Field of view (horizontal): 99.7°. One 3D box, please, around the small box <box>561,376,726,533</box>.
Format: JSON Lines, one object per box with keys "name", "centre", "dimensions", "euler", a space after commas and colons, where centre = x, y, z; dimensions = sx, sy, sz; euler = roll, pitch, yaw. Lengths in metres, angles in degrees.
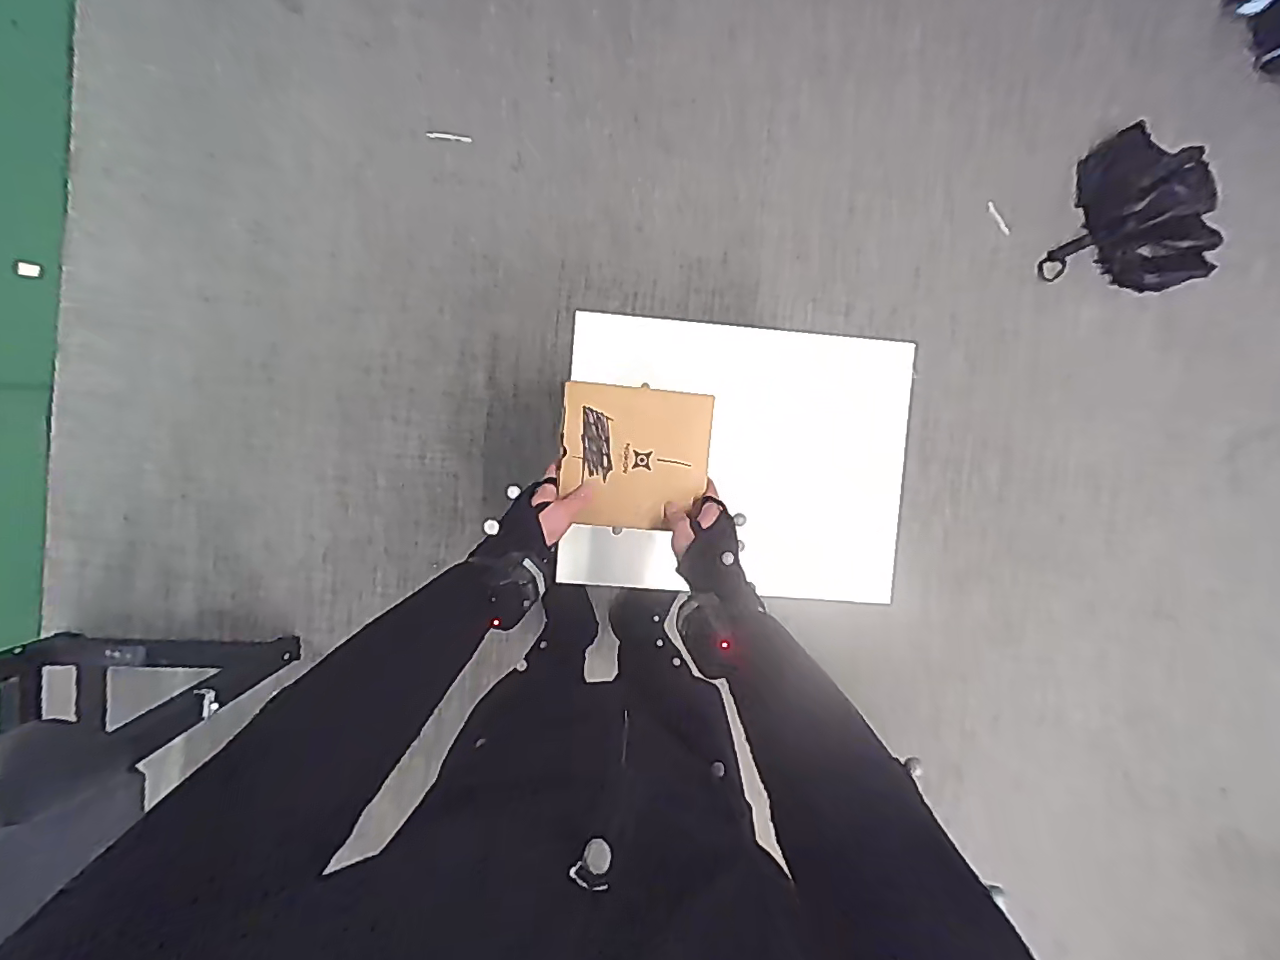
{"name": "small box", "centre": [-0.002, -0.032, 0.695], "dimensions": [0.179, 0.176, 0.168], "euler": [6, 93, -6]}
